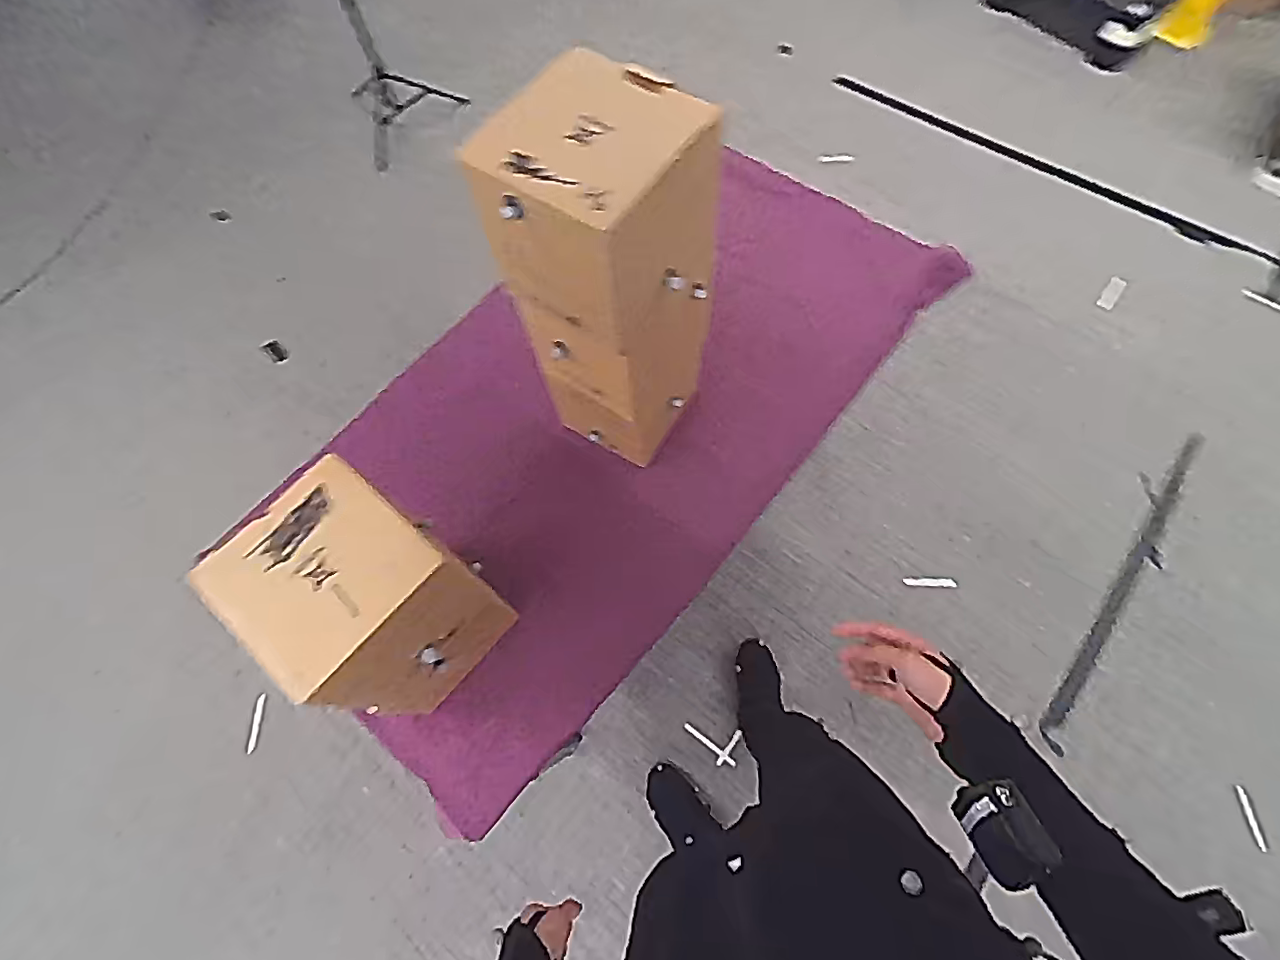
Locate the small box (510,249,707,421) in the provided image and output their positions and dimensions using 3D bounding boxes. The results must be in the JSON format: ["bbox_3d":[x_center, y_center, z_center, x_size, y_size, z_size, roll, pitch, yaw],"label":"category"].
[{"bbox_3d":[-0.031,-0.207,0.693,0.168,0.176,0.179,33,73,14],"label":"small box"}]

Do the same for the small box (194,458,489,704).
[{"bbox_3d":[-0.292,0.115,0.568,0.179,0.176,0.168,37,73,15],"label":"small box"}]

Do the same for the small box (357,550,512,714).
[{"bbox_3d":[-0.298,0.185,0.717,0.168,0.176,0.179,38,73,16],"label":"small box"}]

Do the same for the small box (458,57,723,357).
[{"bbox_3d":[-0.040,-0.261,0.538,0.168,0.176,0.179,33,72,15],"label":"small box"}]
